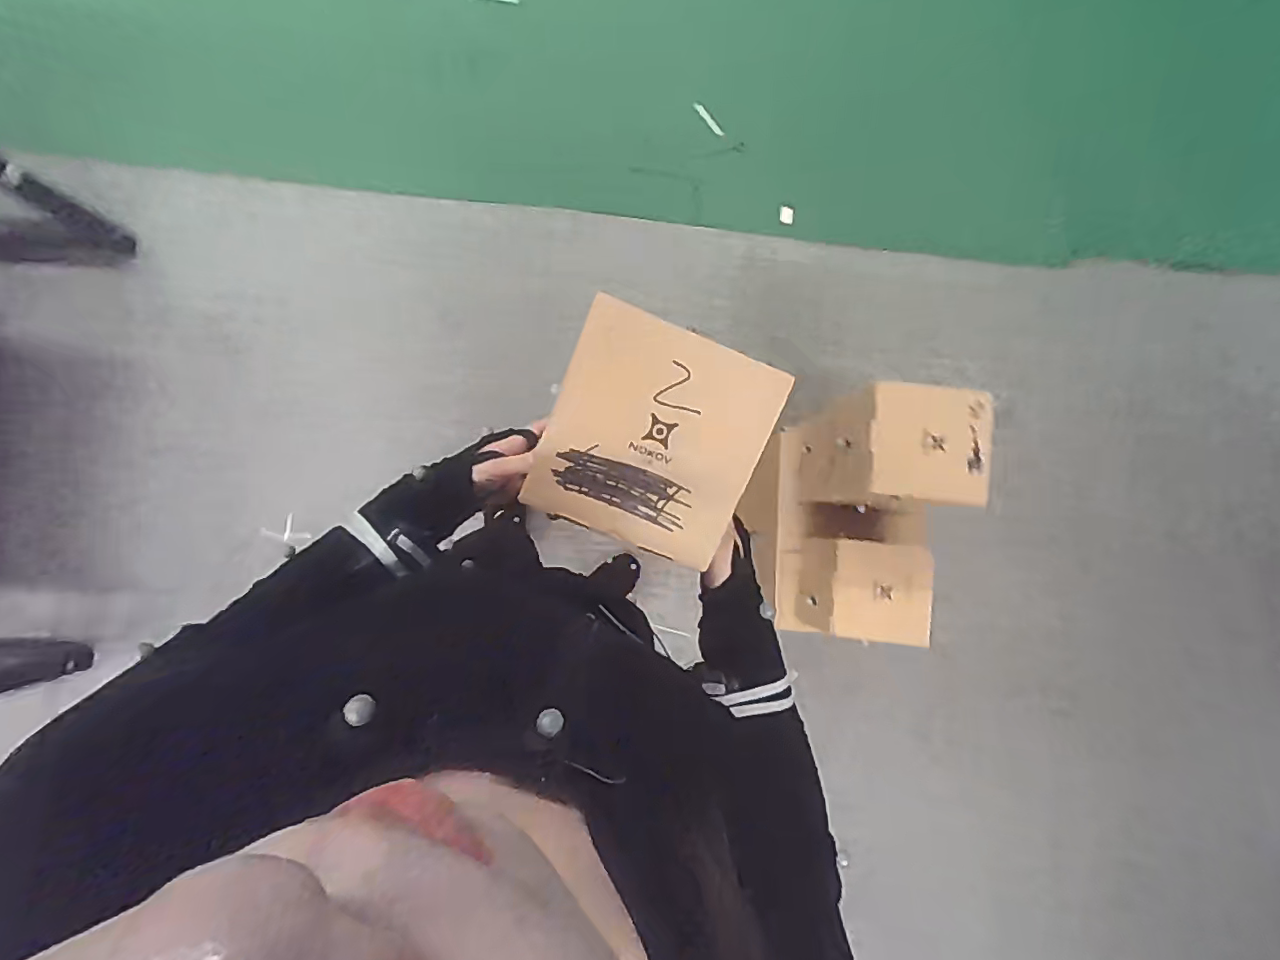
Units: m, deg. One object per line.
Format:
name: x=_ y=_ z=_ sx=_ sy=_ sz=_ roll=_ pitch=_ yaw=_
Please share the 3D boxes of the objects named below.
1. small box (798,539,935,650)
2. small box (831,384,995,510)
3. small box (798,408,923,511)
small box: x=0.407 y=0.204 z=0.999 sx=0.179 sy=0.176 sz=0.168 roll=9 pitch=84 yaw=-4
small box: x=0.419 y=-0.043 z=0.856 sx=0.179 sy=0.176 sz=0.168 roll=7 pitch=86 yaw=-1
small box: x=0.416 y=-0.032 z=1.020 sx=0.179 sy=0.176 sz=0.168 roll=6 pitch=86 yaw=-1
